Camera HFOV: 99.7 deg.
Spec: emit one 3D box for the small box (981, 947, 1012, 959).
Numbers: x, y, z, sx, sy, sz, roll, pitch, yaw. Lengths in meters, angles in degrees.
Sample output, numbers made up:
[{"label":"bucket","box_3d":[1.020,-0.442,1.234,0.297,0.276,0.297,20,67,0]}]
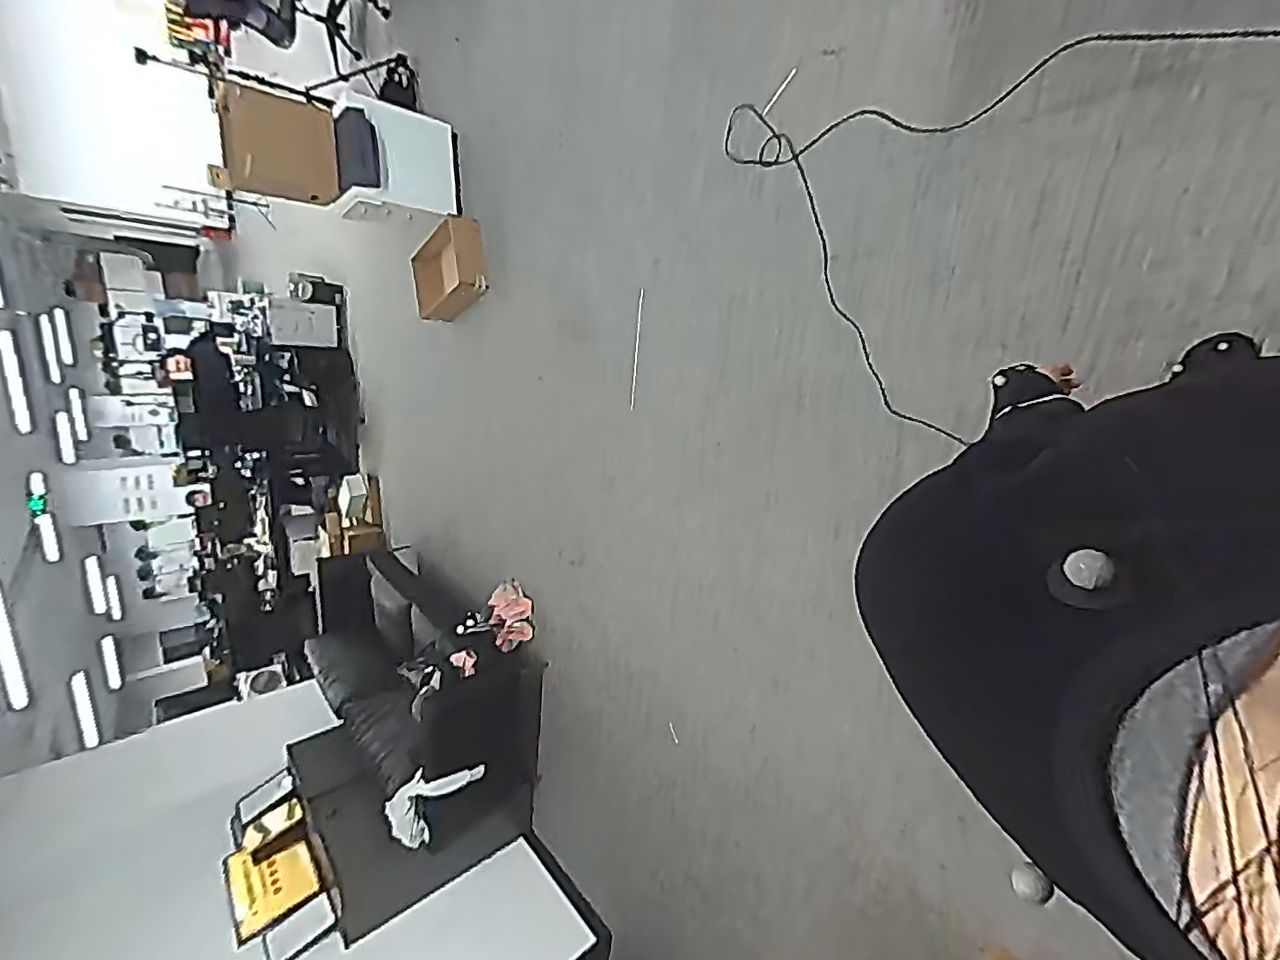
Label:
[{"label":"small box","box_3d":[0.929,1.369,1.381,0.168,0.176,0.179,32,118,39]}]
